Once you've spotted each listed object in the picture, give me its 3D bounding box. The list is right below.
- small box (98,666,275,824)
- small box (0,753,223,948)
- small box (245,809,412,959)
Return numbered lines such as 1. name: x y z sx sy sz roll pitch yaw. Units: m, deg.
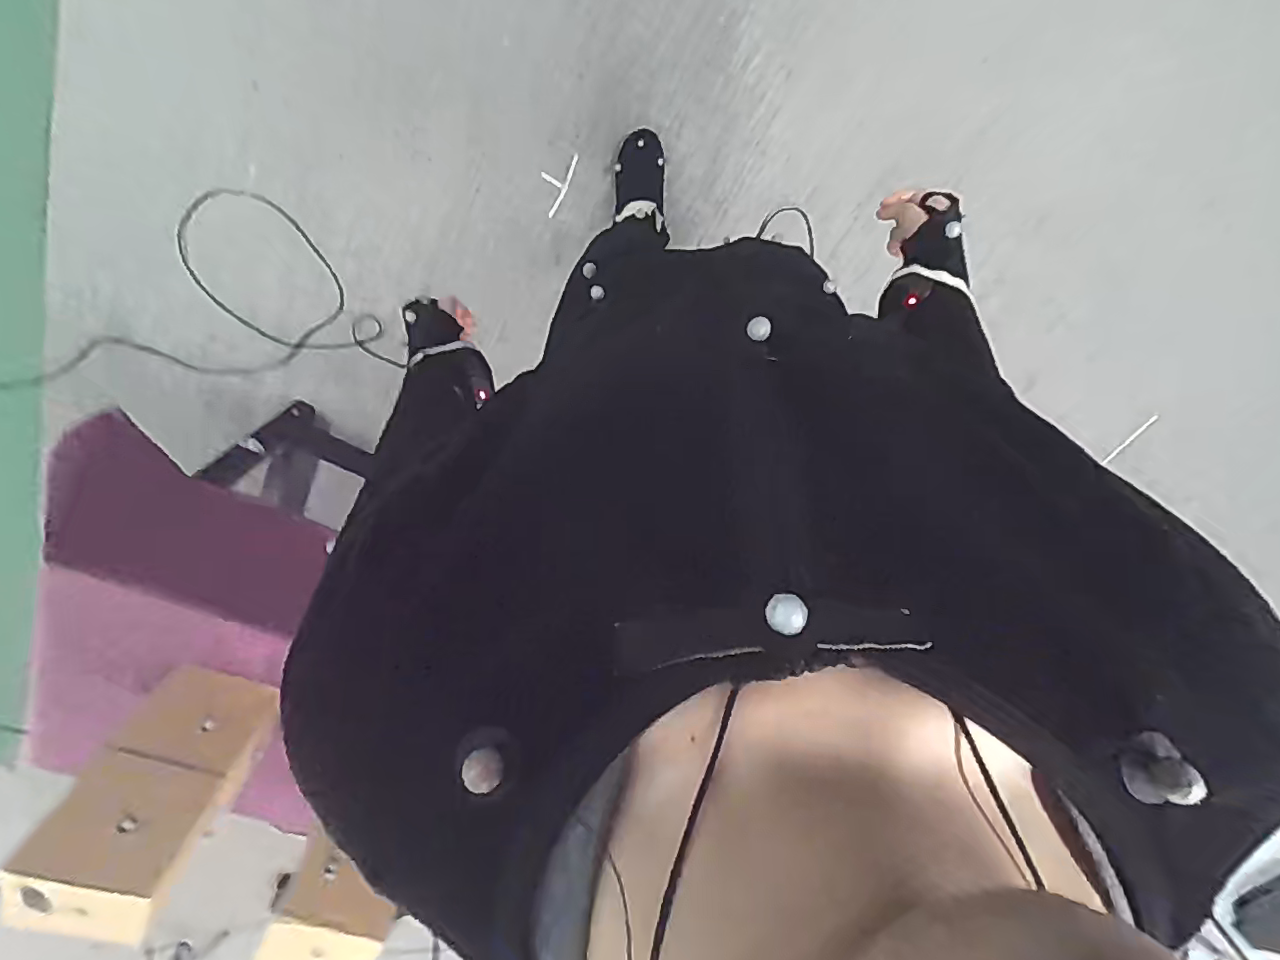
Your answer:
1. small box: -0.771 0.451 0.931 0.179 0.176 0.168 24 116 -15
2. small box: -0.765 0.531 0.787 0.179 0.176 0.168 25 116 -16
3. small box: -0.497 0.675 0.882 0.168 0.176 0.179 27 116 -14
